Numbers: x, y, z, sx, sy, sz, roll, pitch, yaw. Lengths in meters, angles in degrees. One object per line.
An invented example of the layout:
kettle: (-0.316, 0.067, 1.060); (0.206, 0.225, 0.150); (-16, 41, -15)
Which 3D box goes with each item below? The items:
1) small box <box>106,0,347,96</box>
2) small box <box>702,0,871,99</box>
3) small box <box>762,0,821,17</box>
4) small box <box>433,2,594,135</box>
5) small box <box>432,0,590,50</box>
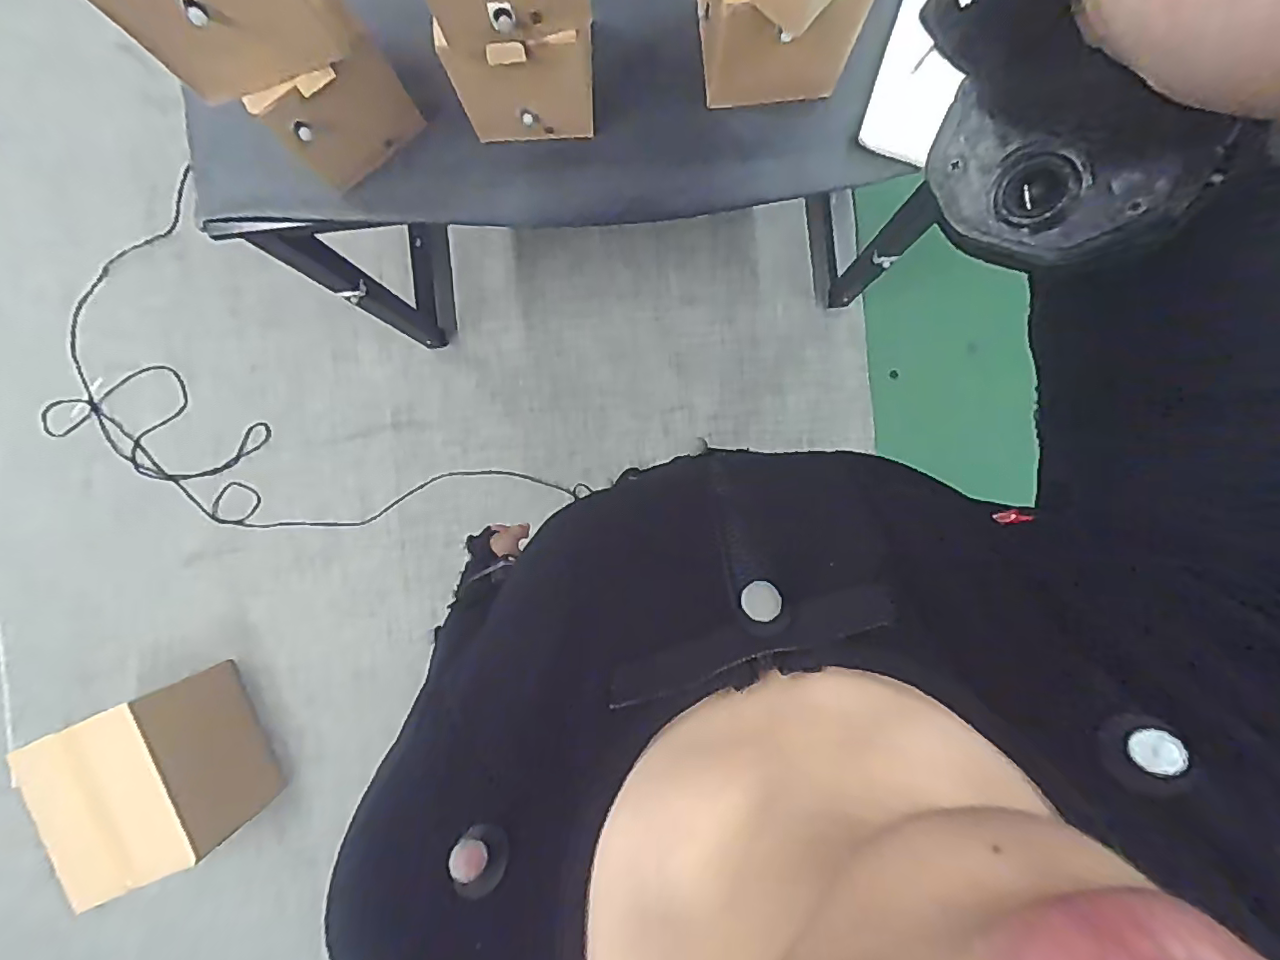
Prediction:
small box: (-0.439, -0.537, 0.541); (0.179, 0.176, 0.168); (-19, 88, 3)
small box: (0.177, -0.625, 0.683); (0.179, 0.176, 0.168); (-6, 89, 3)
small box: (0.157, -0.616, 0.519); (0.179, 0.176, 0.168); (41, 91, 2)
small box: (-0.152, -0.584, 0.694); (0.168, 0.176, 0.179); (-2, 89, 3)
small box: (-0.154, -0.586, 0.532); (0.168, 0.176, 0.179); (-13, 89, 3)
